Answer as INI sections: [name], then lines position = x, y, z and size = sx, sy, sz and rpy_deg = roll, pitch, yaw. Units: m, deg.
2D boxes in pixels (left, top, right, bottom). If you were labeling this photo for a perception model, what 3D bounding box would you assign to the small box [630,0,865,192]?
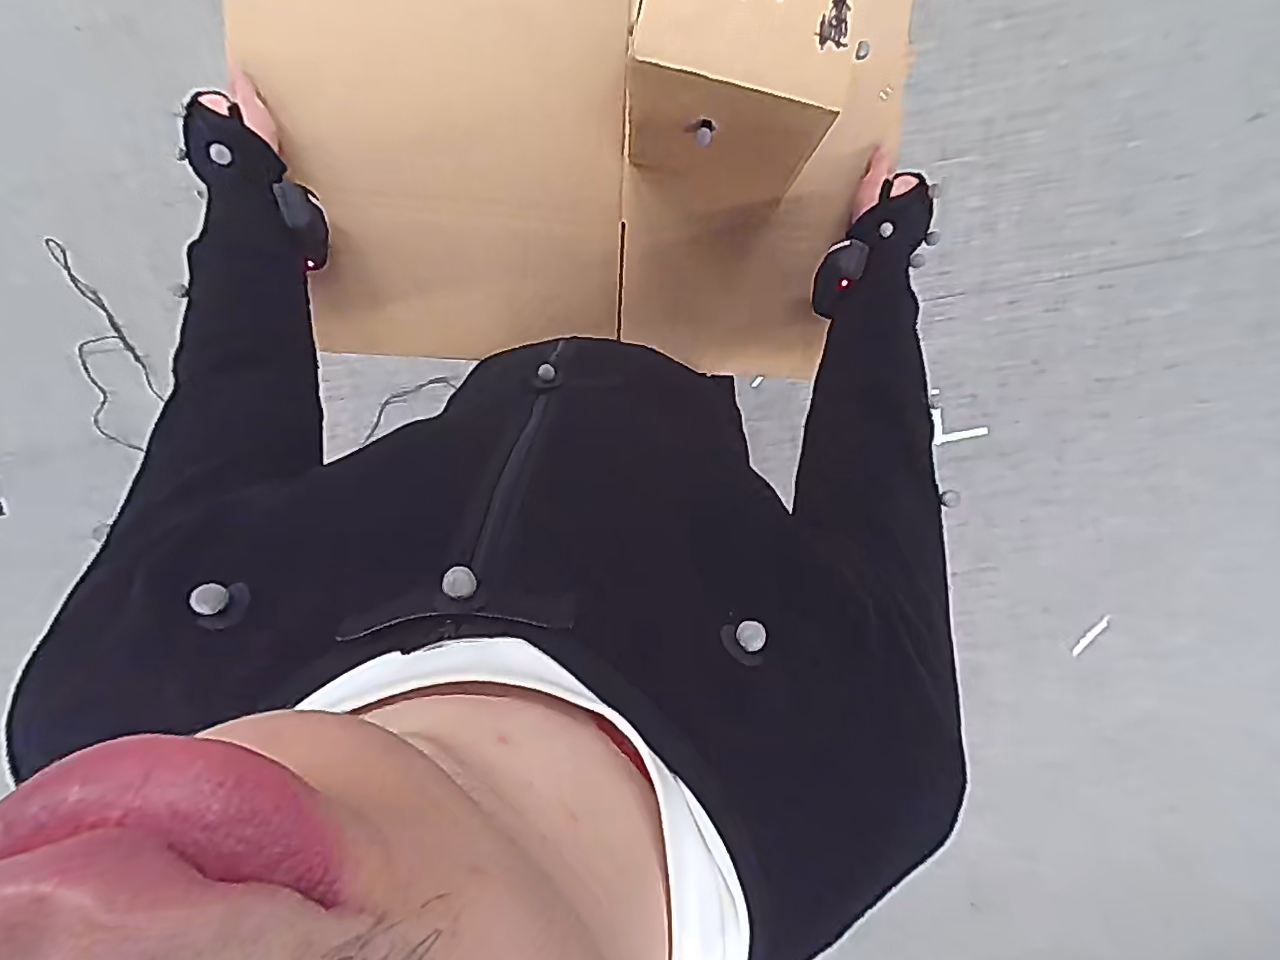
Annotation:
[small box]
position = 0.093, -0.401, 0.508
size = 0.179, 0.176, 0.168
rpy_deg = 13, 96, -1
